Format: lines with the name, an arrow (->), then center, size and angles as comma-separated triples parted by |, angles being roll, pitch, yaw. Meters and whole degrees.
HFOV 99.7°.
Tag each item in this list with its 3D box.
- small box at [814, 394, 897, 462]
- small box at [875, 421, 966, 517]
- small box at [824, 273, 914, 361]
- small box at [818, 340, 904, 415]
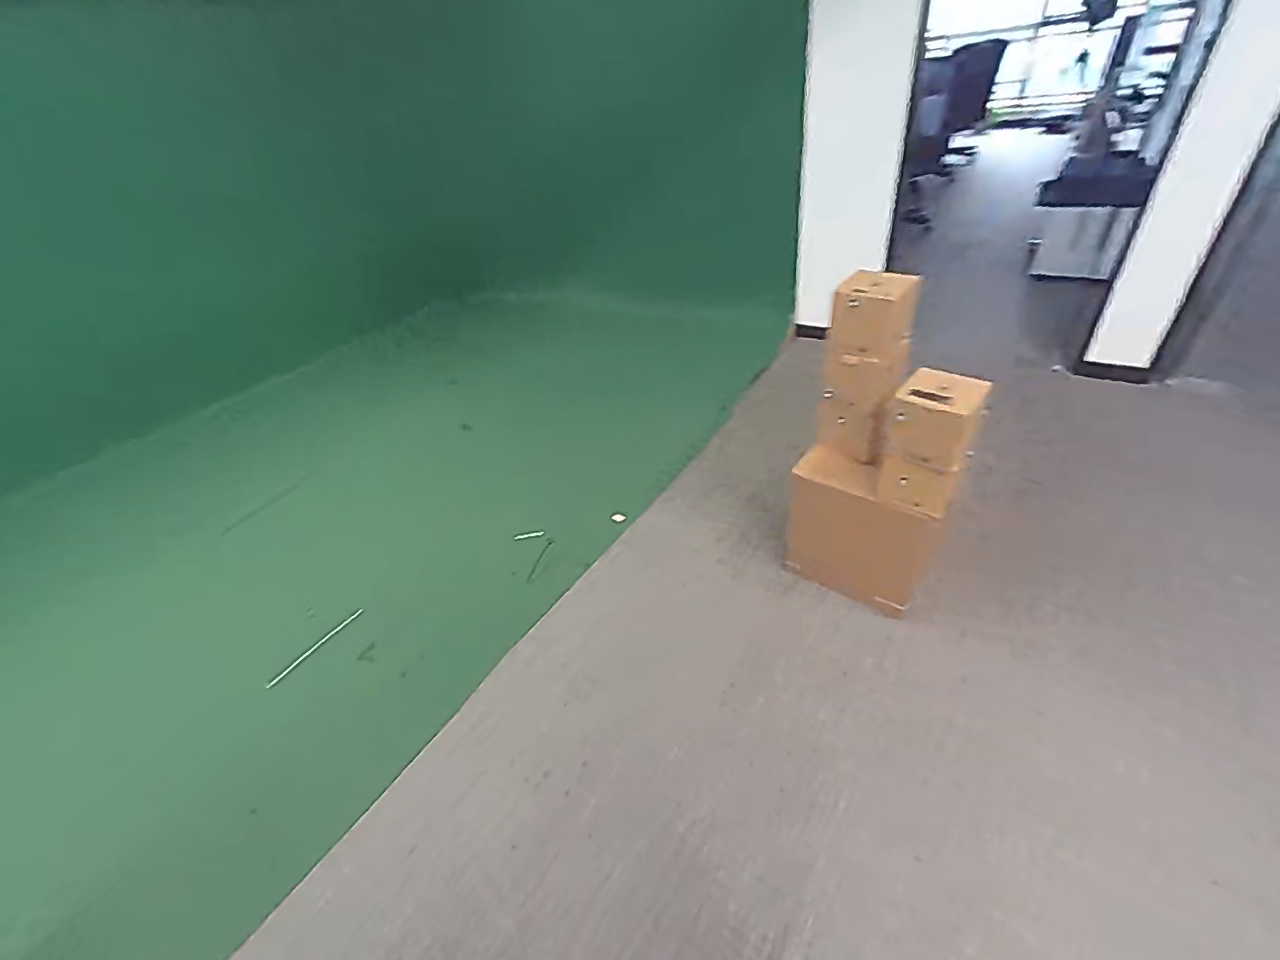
small box -> 0.655, -0.181, 1.663 | 0.179, 0.176, 0.168 | 29, 52, 36
small box -> 0.748, -0.028, 1.454 | 0.168, 0.176, 0.179 | 21, 47, 32
small box -> 0.615, -0.444, 1.469 | 0.168, 0.176, 0.179 | 23, 47, 35
small box -> 0.633, -0.311, 1.565 | 0.179, 0.176, 0.168 | -33, 44, -29
